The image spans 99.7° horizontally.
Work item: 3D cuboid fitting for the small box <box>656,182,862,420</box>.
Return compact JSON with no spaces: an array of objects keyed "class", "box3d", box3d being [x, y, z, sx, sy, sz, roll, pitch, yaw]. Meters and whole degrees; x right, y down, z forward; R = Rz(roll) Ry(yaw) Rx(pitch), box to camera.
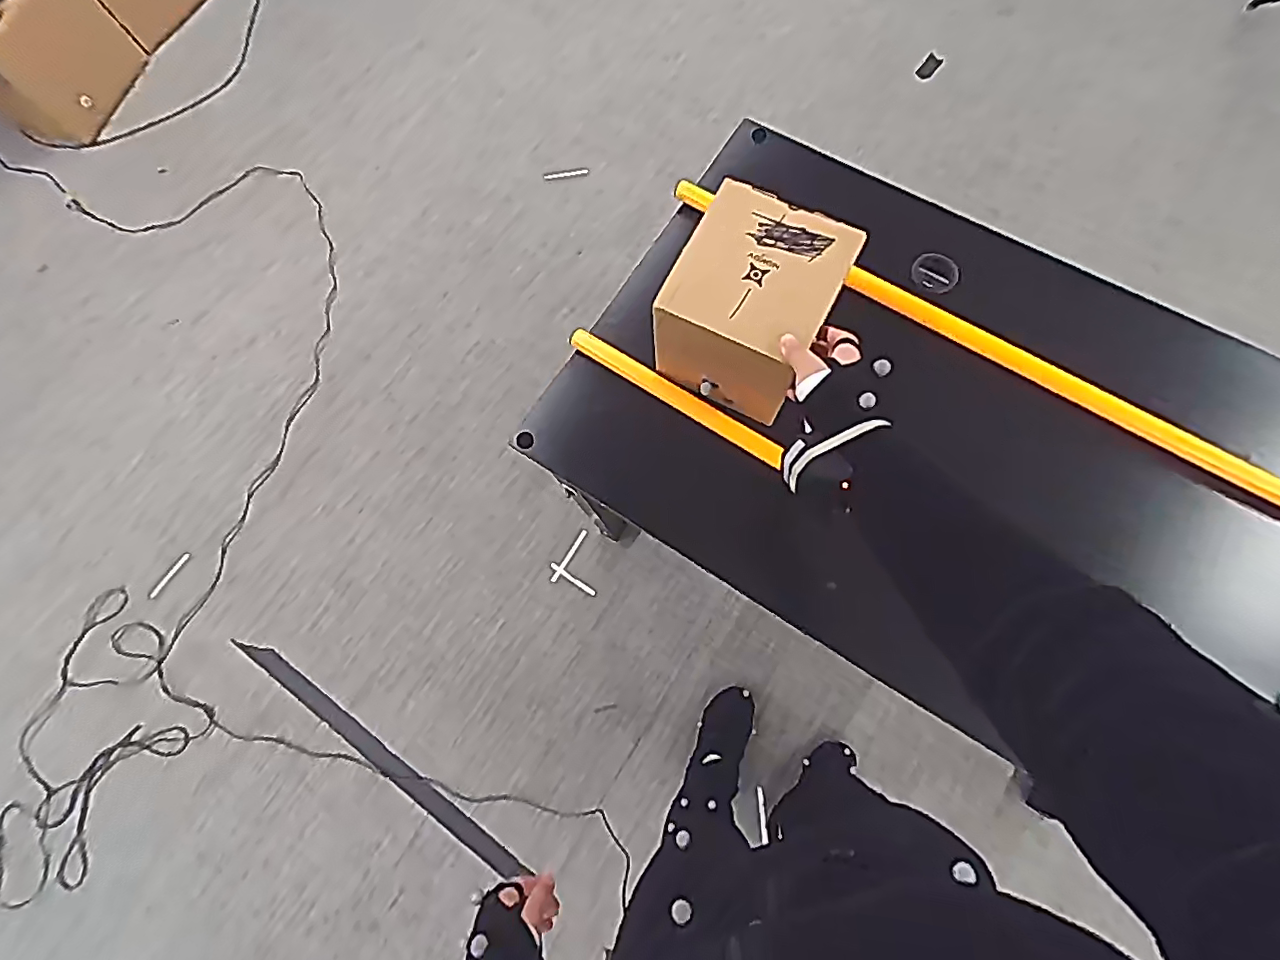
[{"class":"small box","box3d":[0.130,-0.200,0.645,0.168,0.176,0.179,27,80,10]}]
